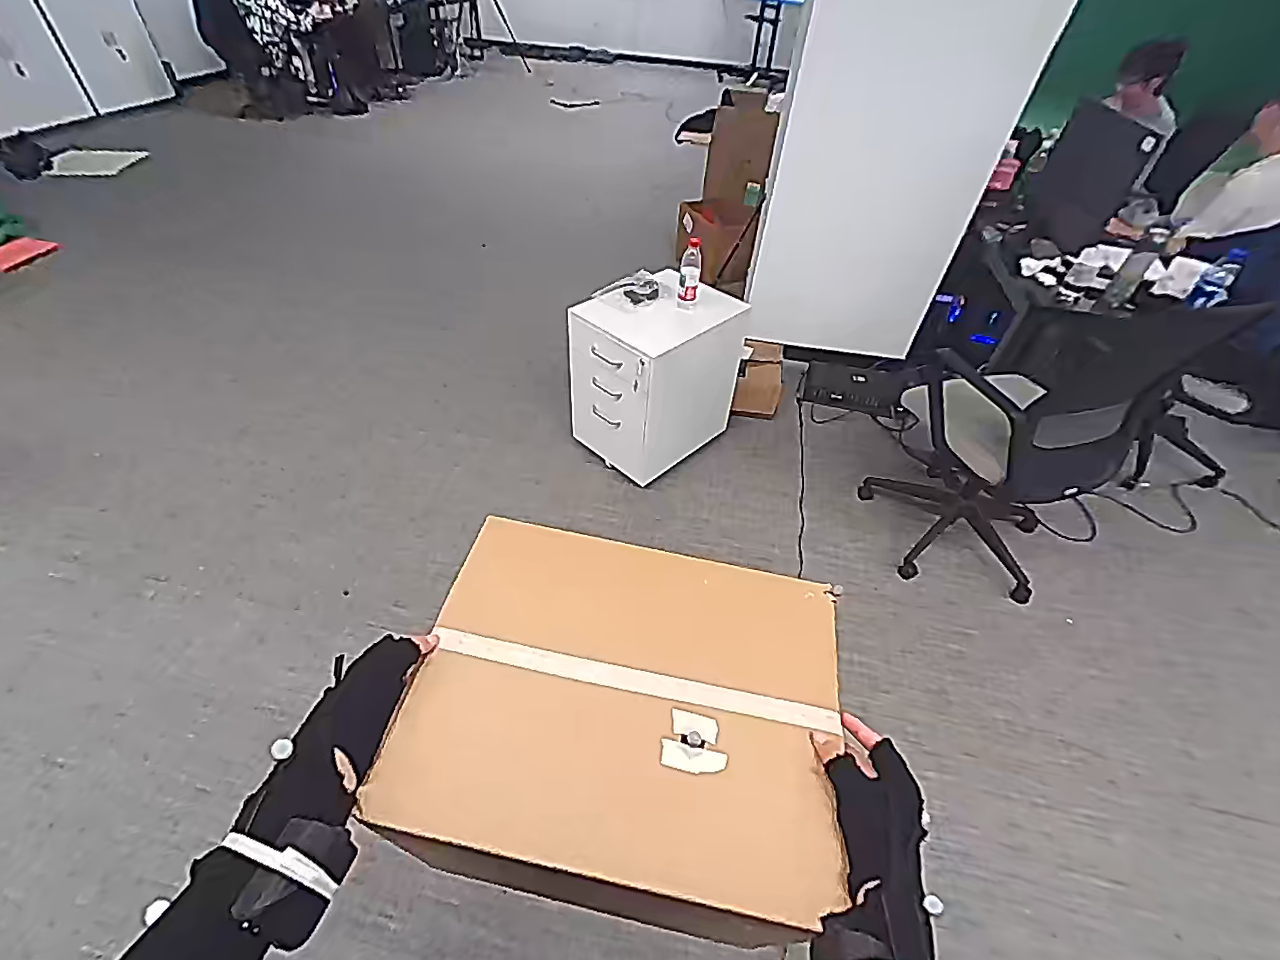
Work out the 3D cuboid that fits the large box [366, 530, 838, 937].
[{"bbox_3d":[-0.026,0.304,0.648,0.408,0.320,0.320,12,49,3],"label":"large box"}]
